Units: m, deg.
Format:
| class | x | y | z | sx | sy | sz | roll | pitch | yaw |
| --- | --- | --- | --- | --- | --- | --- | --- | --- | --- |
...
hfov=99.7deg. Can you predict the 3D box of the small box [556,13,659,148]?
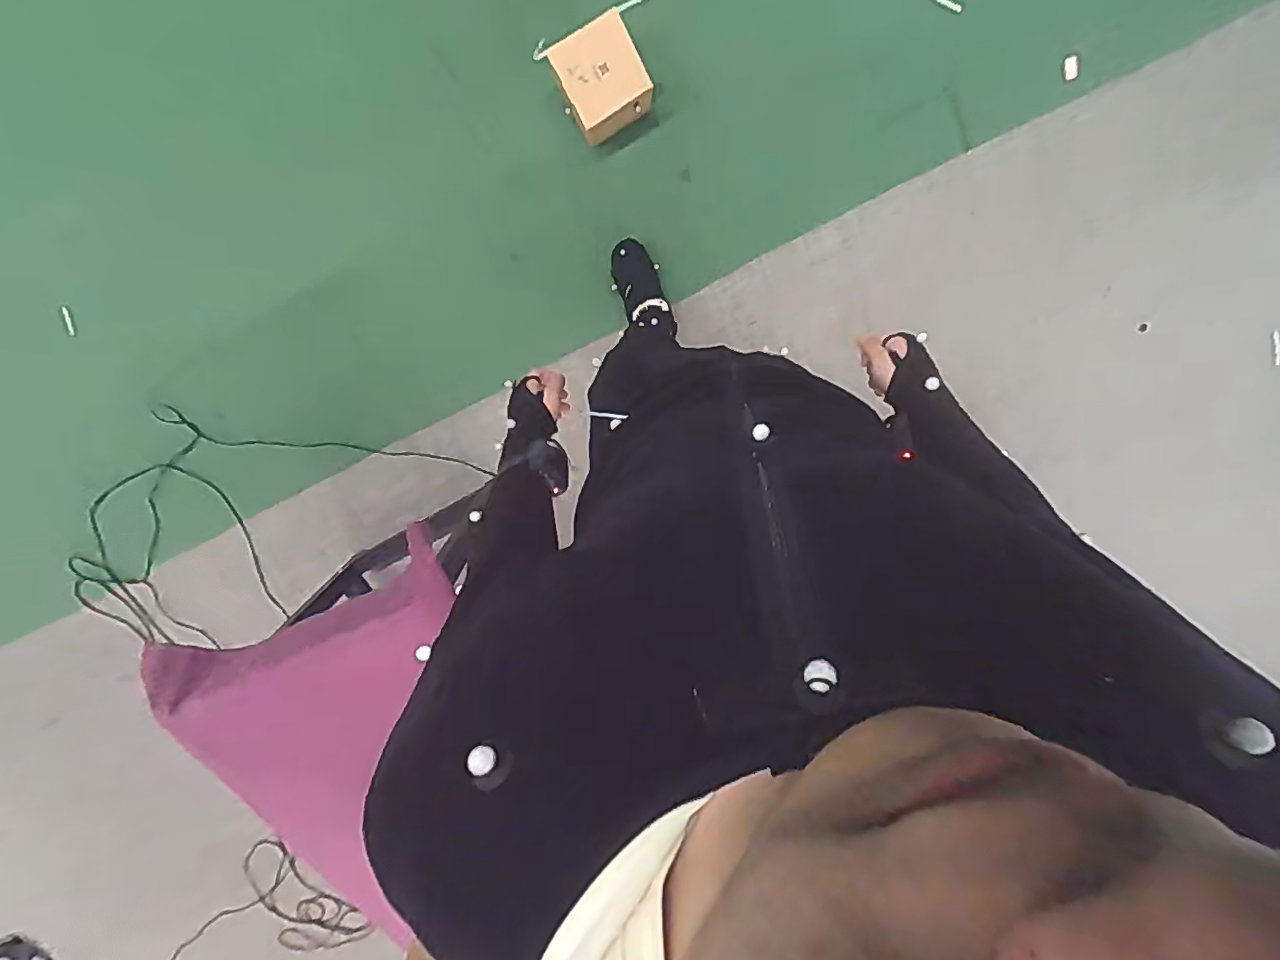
| class | x | y | z | sx | sy | sz | roll | pitch | yaw |
| --- | --- | --- | --- | --- | --- | --- | --- | --- | --- |
| small box | -0.073 | -0.911 | 1.253 | 0.179 | 0.176 | 0.168 | -28 | 107 | 9 |
